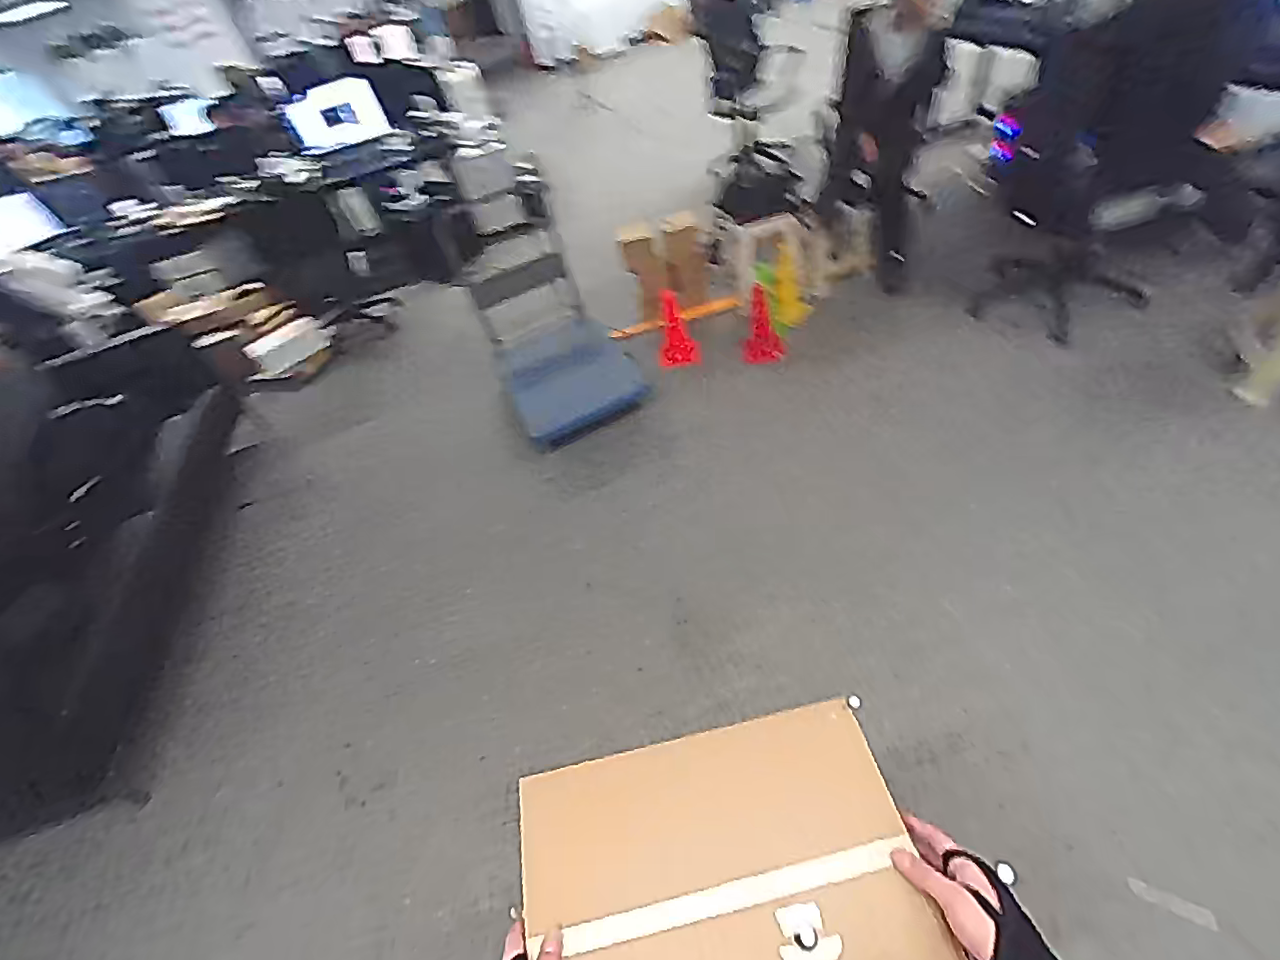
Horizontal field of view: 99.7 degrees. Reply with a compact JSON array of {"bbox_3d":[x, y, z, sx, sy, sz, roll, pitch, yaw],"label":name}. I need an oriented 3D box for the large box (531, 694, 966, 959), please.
[{"bbox_3d":[0.106,0.518,0.670,0.408,0.320,0.320,-12,49,-3],"label":"large box"}]
